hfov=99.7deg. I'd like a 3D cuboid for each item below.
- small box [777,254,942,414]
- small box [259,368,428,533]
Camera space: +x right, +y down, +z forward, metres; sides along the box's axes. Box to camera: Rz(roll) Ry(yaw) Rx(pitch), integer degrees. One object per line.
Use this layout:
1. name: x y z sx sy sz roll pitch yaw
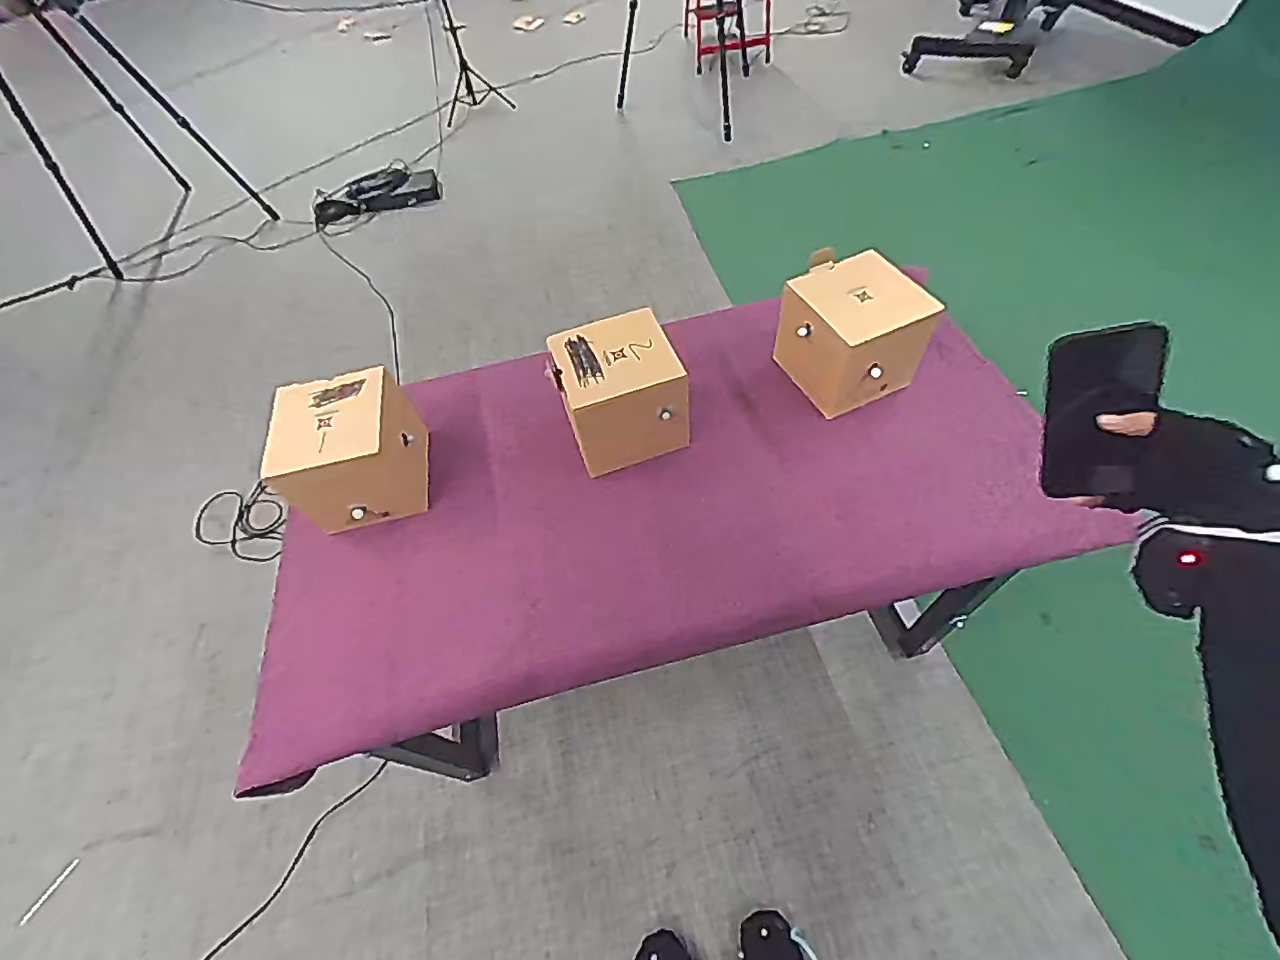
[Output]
1. small box: 0.345 -0.231 0.890 0.168 0.176 0.179 -23 56 -9
2. small box: -0.445 -0.043 0.845 0.168 0.176 0.179 -13 57 -3
